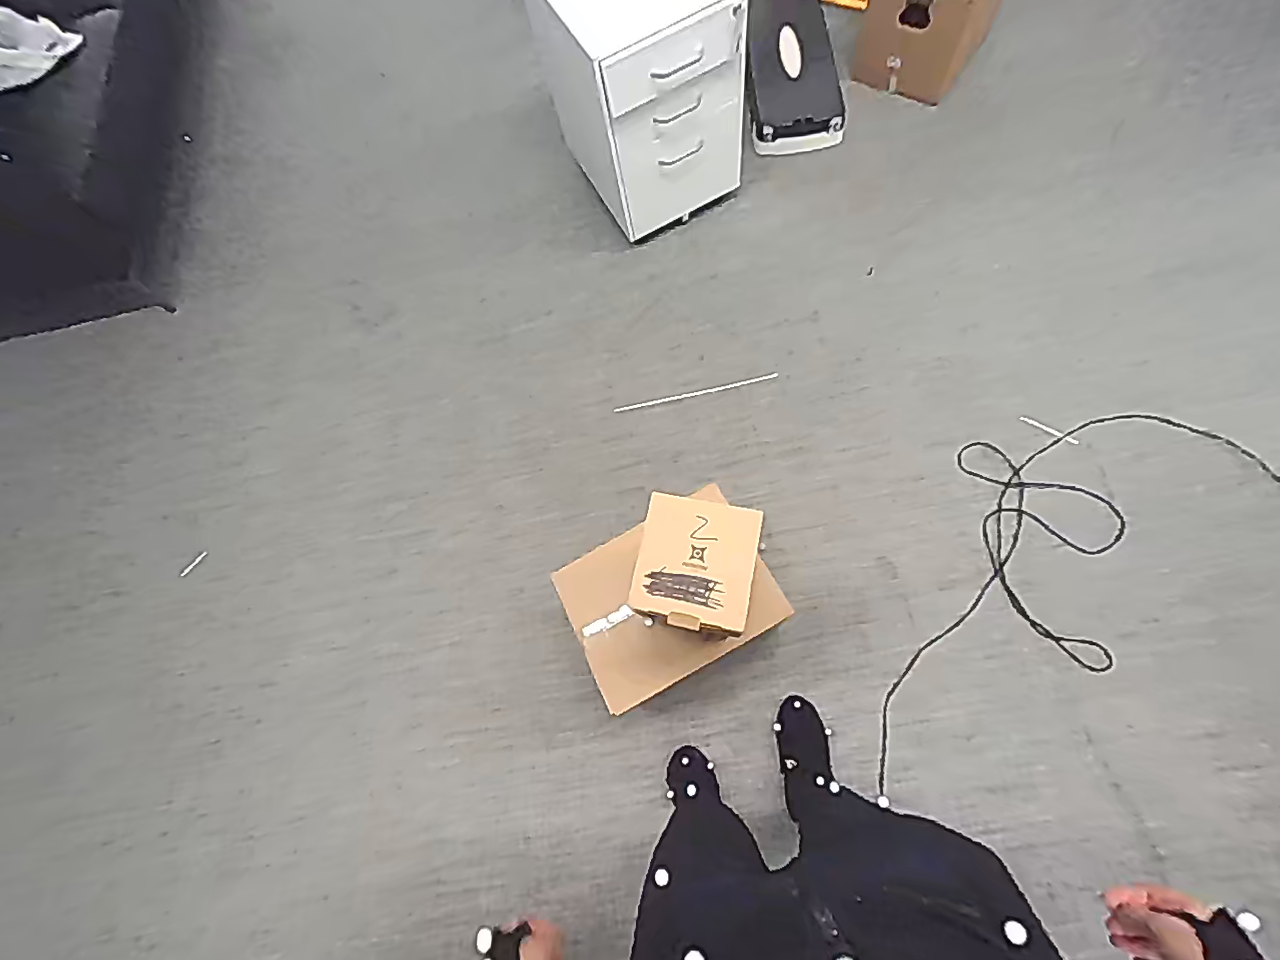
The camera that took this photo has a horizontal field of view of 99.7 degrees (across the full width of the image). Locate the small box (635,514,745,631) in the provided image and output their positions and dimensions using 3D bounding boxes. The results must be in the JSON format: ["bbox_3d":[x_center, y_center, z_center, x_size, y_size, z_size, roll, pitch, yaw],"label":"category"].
[{"bbox_3d":[0.099,0.179,1.007,0.168,0.176,0.179,10,75,11],"label":"small box"}]
